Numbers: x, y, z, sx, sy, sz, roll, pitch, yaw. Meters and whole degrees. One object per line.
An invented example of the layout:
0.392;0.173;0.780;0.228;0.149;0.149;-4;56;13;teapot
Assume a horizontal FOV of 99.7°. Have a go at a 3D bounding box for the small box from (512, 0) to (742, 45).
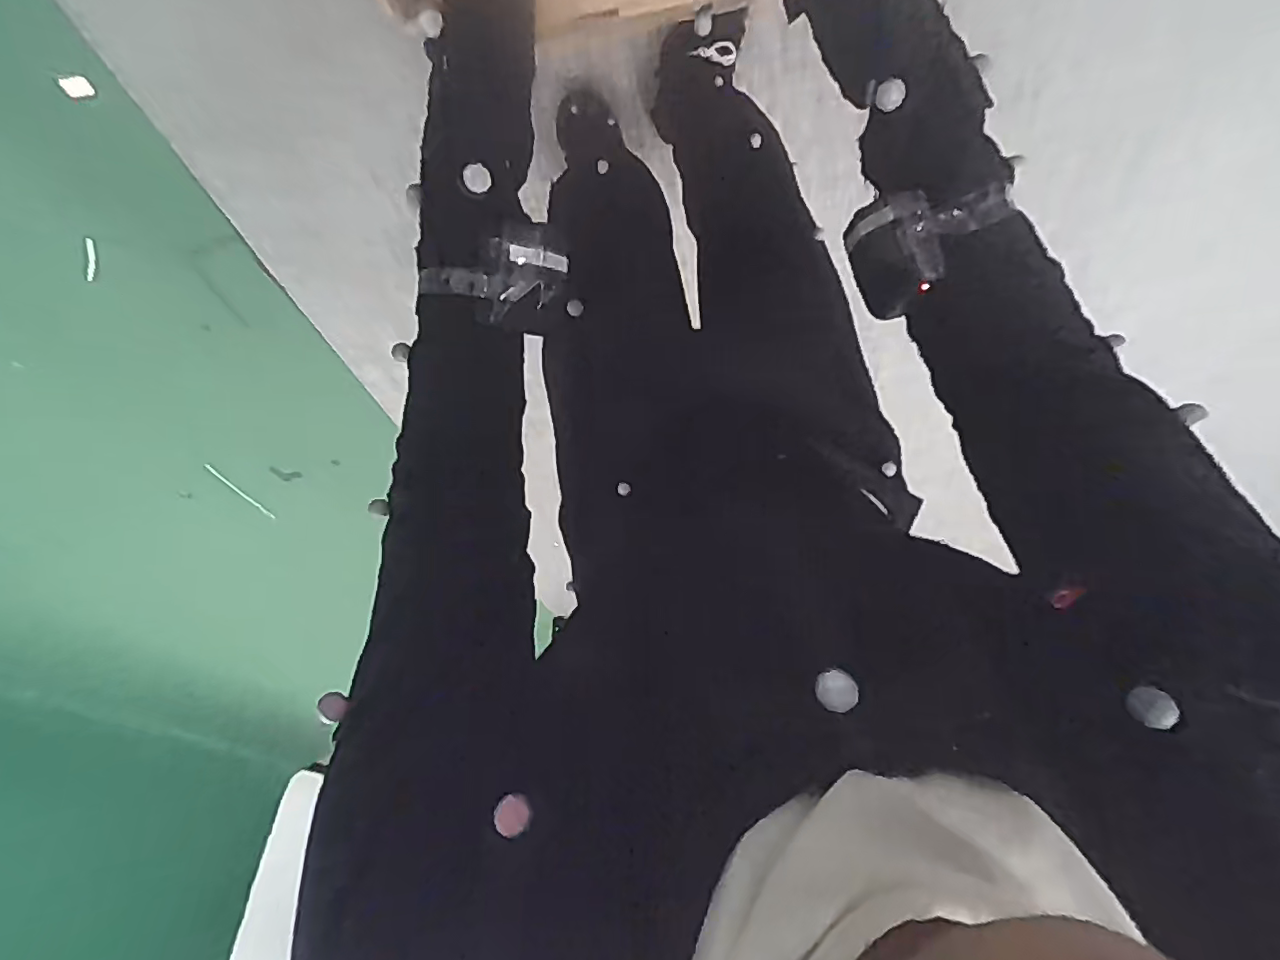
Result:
-0.009;-0.396;0.337;0.168;0.176;0.179;-10;124;4;small box
